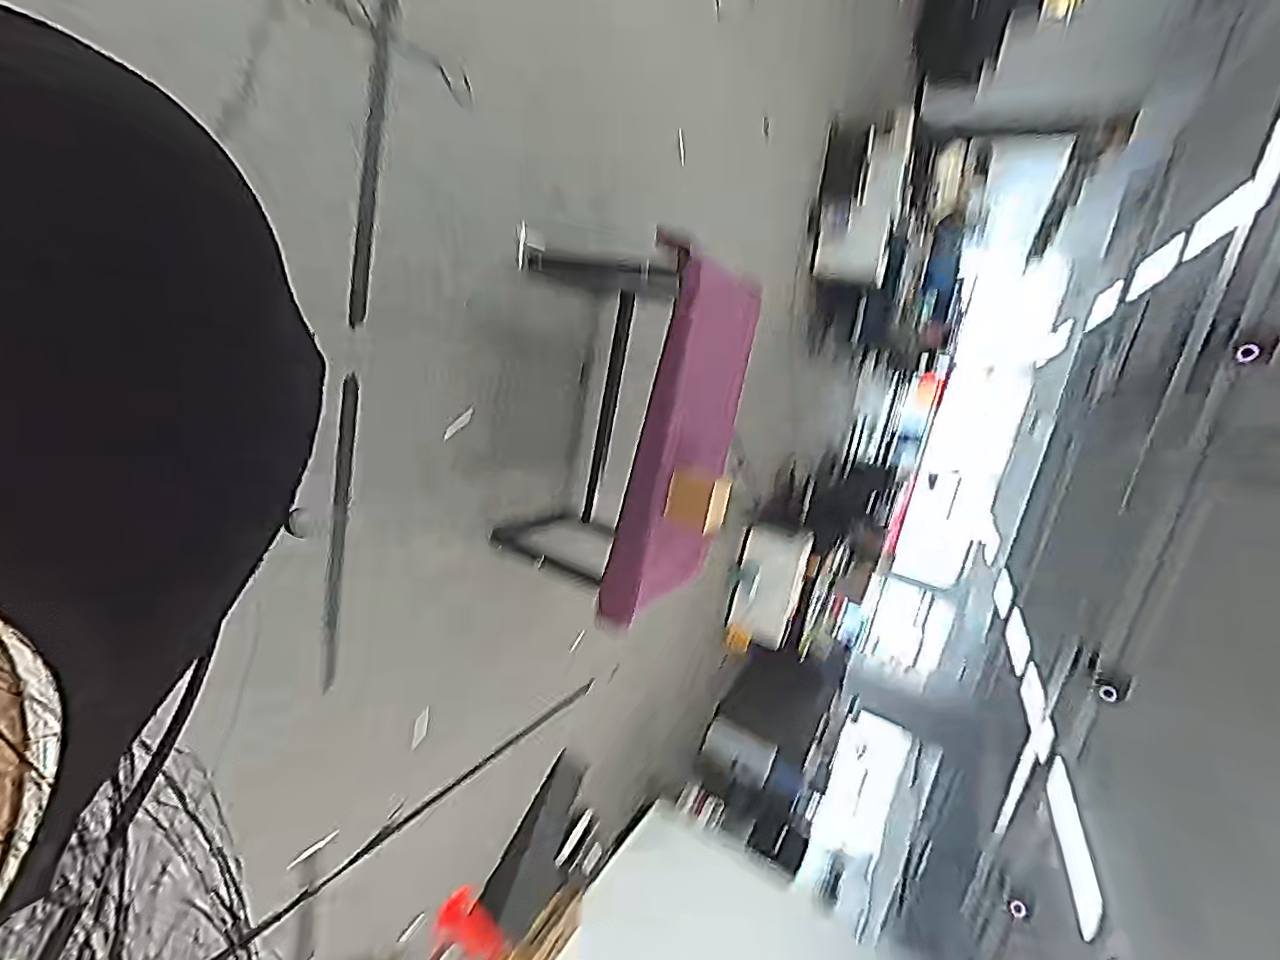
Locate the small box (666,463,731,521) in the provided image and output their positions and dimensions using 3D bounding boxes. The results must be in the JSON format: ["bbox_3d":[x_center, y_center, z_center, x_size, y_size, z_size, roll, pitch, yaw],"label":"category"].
[{"bbox_3d":[0.209,0.039,1.953,0.179,0.176,0.168,-12,115,-60],"label":"small box"}]
